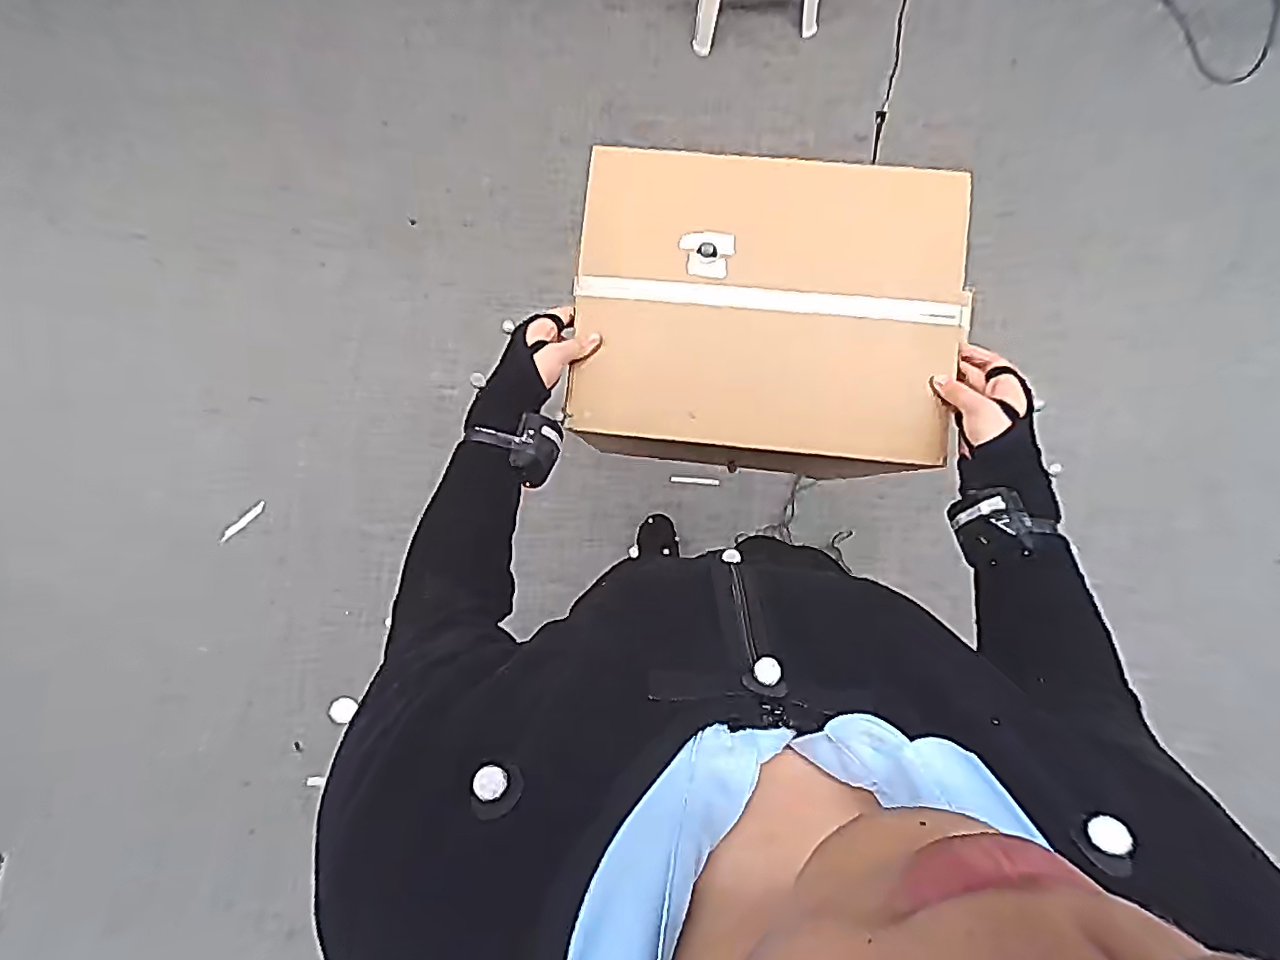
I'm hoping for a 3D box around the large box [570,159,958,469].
[{"bbox_3d":[0.144,-0.187,0.732,0.408,0.320,0.320,5,87,5],"label":"large box"}]
